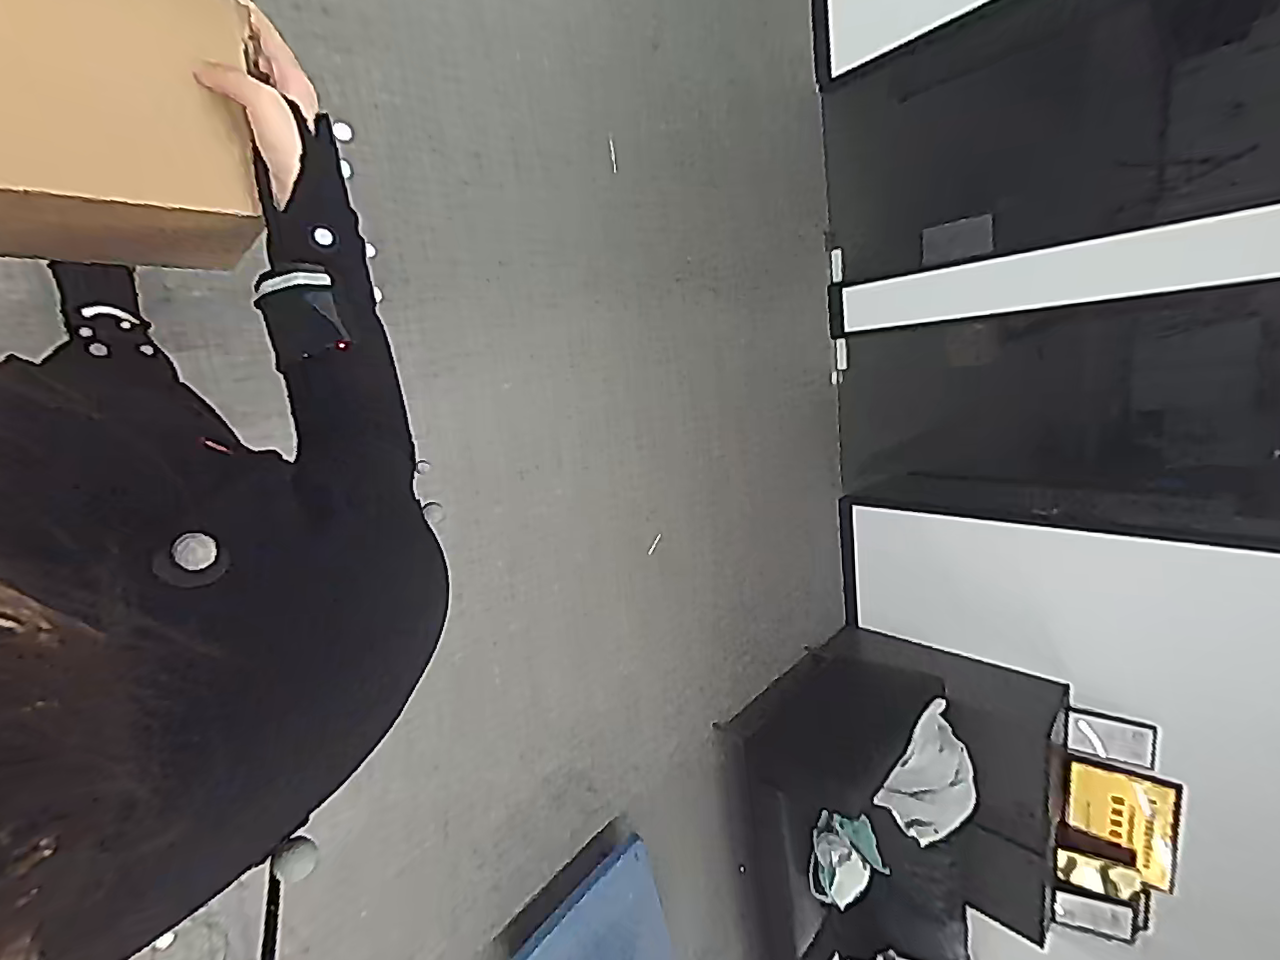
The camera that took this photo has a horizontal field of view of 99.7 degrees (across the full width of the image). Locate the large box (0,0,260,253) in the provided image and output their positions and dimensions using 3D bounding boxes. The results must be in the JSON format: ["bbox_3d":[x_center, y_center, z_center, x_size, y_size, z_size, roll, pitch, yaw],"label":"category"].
[{"bbox_3d":[-0.557,-0.355,0.387,0.408,0.320,0.320,-13,107,-38],"label":"large box"}]
